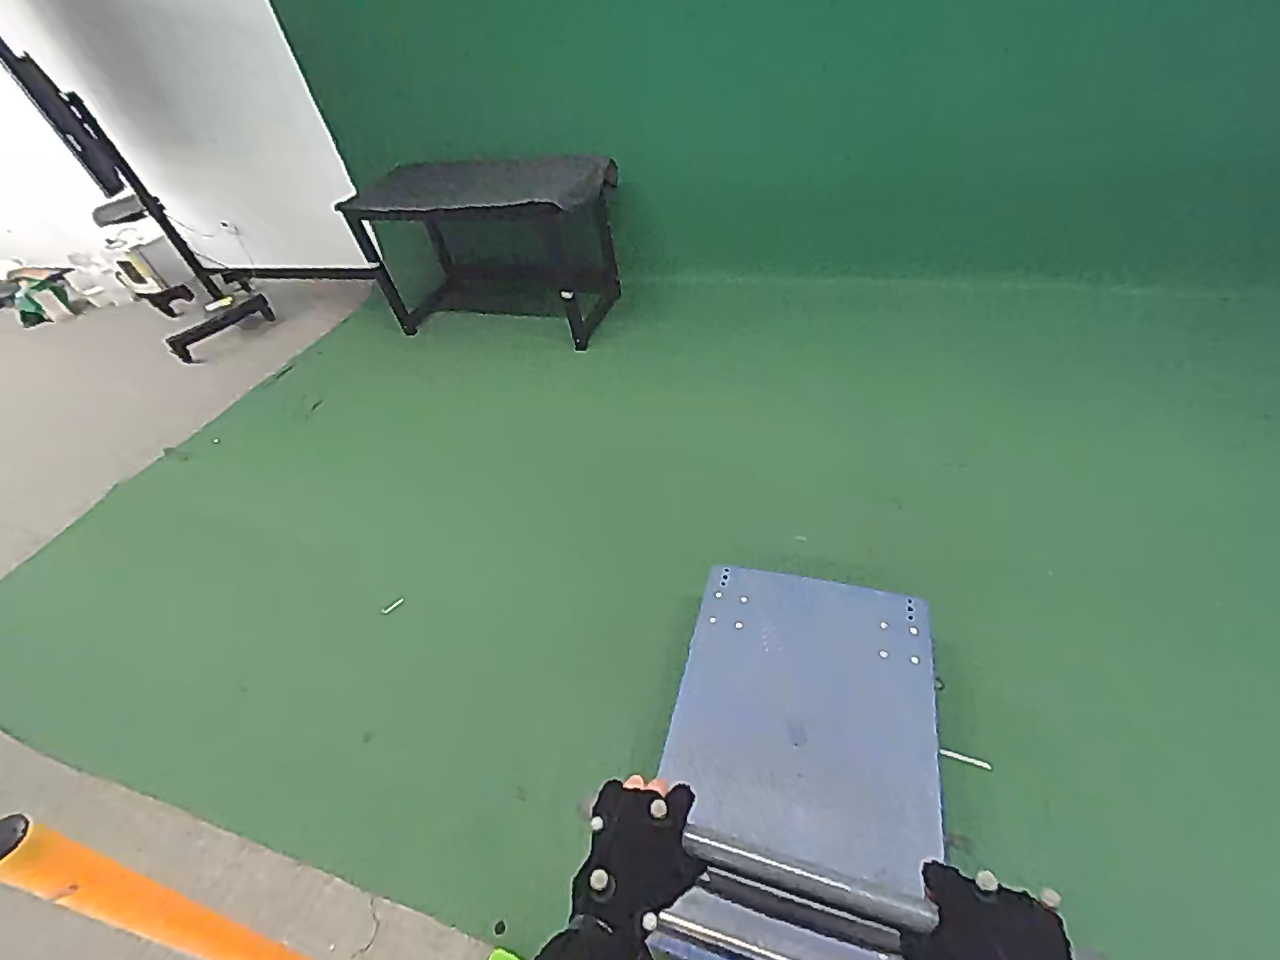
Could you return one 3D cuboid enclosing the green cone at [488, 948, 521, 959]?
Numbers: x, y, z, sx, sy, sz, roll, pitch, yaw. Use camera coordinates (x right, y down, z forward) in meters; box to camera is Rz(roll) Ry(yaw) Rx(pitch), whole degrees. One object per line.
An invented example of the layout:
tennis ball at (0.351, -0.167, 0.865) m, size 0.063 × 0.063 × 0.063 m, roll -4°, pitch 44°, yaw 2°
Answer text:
green cone at (-0.284, 0.964, 0.953) m, size 0.202 × 0.368 × 0.200 m, roll 11°, pitch 47°, yaw 22°
